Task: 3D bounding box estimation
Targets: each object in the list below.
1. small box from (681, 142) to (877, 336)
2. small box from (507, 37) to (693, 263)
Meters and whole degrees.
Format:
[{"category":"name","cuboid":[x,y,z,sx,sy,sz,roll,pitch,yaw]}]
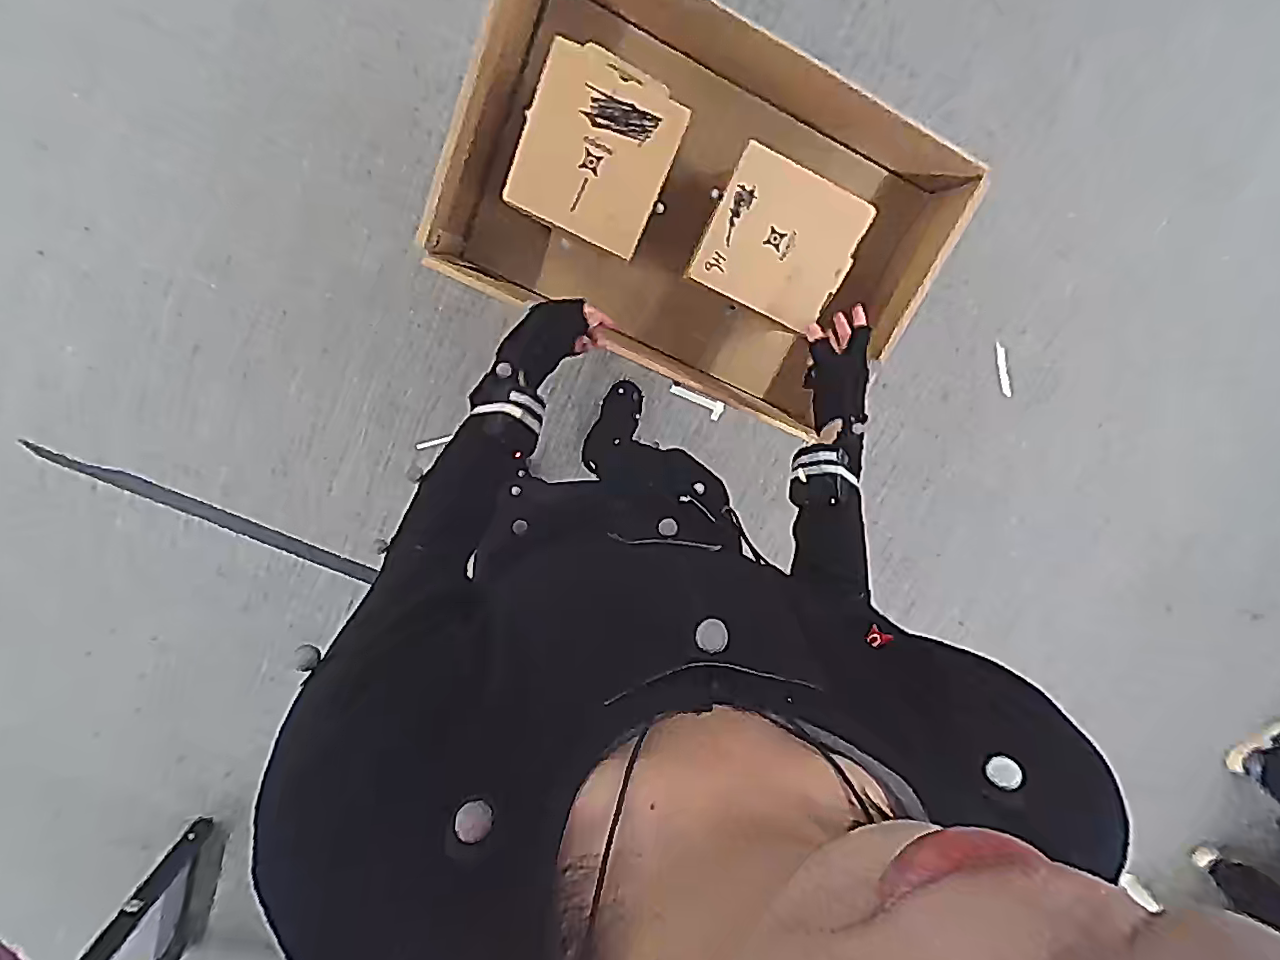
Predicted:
[{"category":"small box","cuboid":[0.171,-0.314,0.731,0.179,0.176,0.168,24,106,-9]},{"category":"small box","cuboid":[-0.051,-0.399,0.692,0.168,0.176,0.179,23,108,-9]}]
